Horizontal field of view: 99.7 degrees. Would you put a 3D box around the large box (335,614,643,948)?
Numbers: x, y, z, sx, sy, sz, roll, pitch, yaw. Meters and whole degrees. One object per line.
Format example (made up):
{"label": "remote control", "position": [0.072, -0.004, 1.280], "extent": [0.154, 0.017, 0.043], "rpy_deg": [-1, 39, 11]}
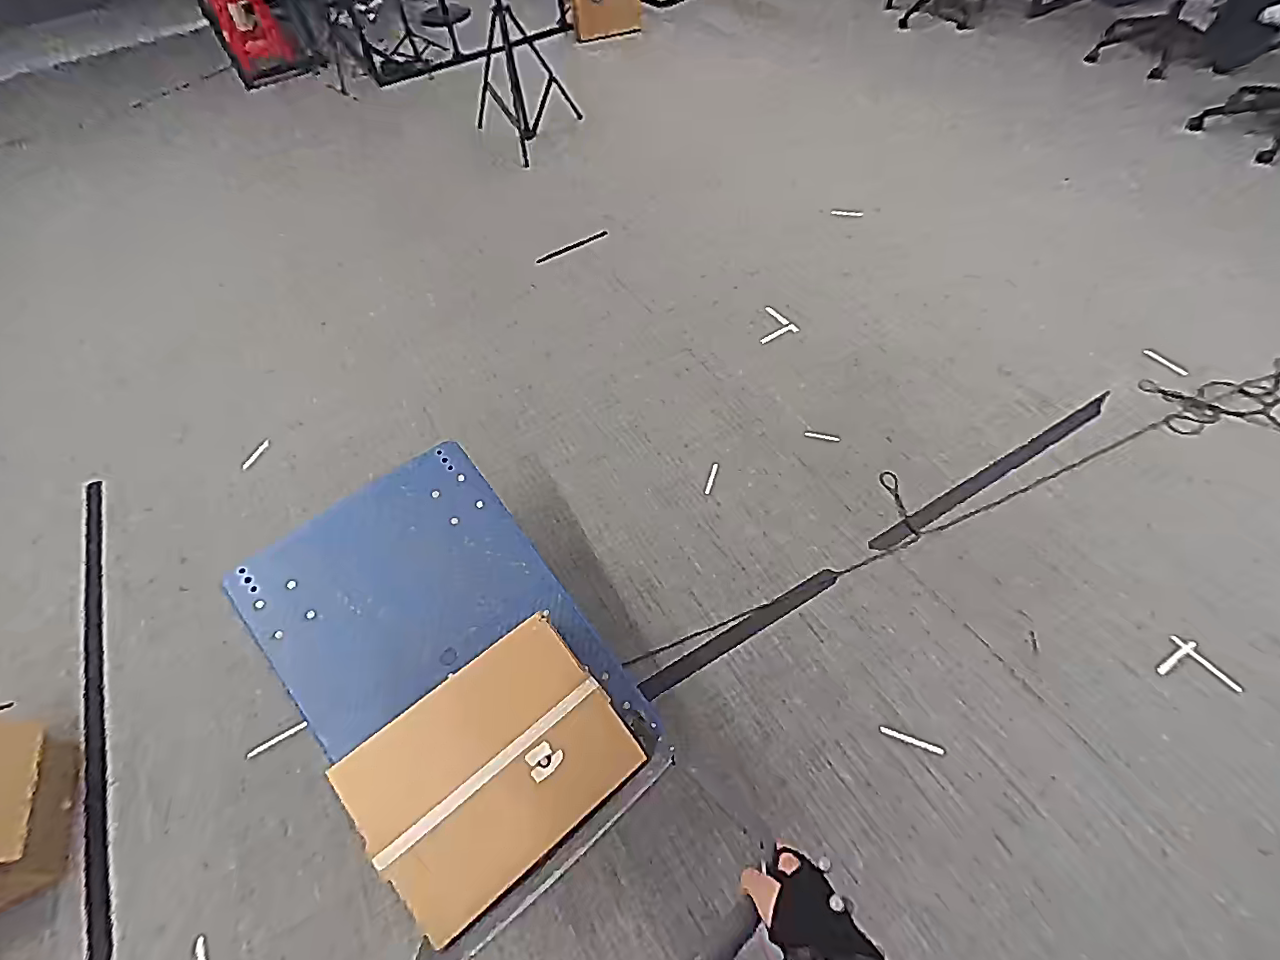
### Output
{"label": "large box", "position": [-0.261, 0.515, 1.020], "extent": [0.408, 0.320, 0.320], "rpy_deg": [-36, 82, -20]}
